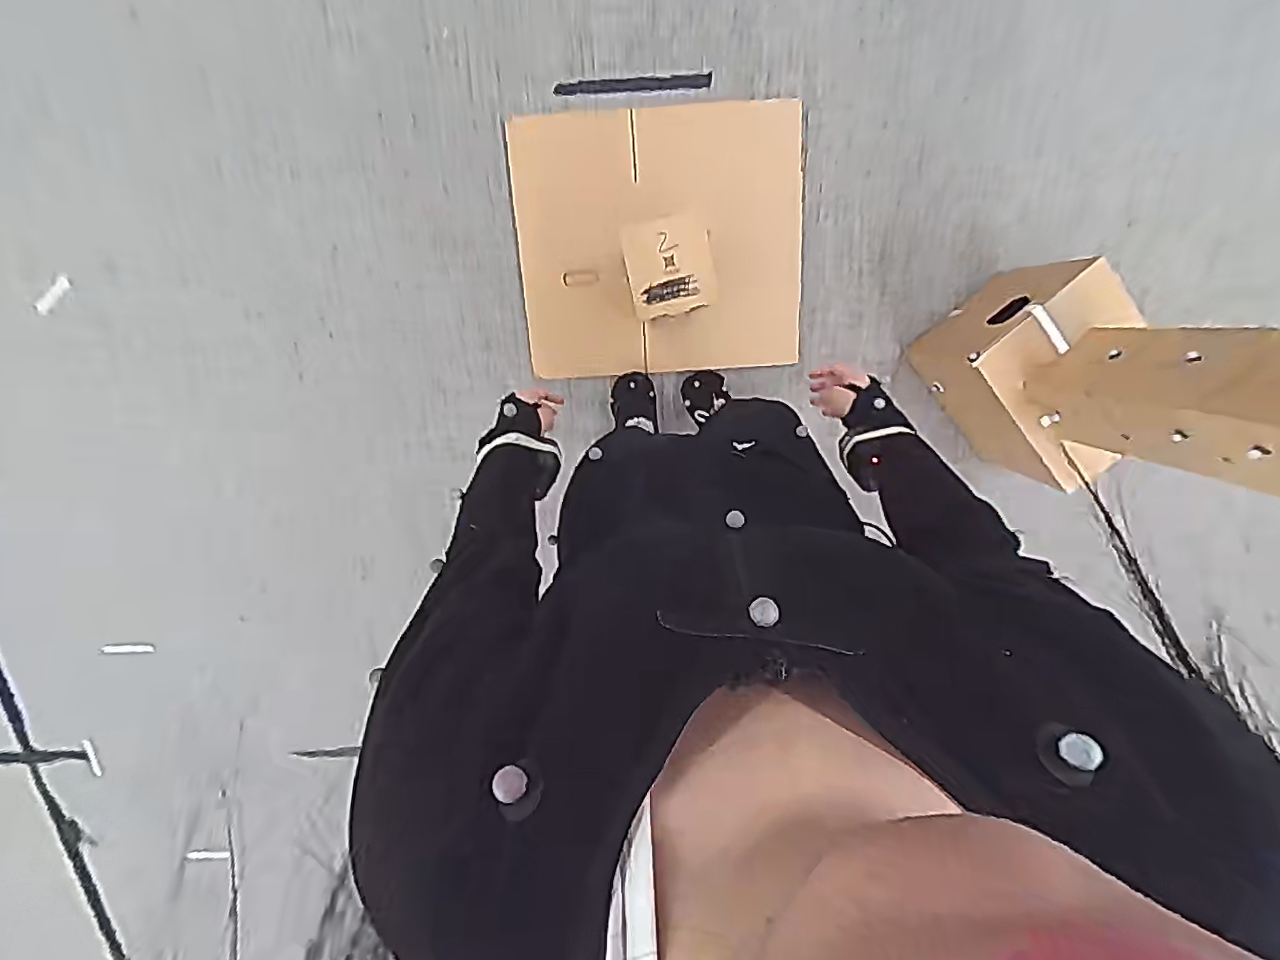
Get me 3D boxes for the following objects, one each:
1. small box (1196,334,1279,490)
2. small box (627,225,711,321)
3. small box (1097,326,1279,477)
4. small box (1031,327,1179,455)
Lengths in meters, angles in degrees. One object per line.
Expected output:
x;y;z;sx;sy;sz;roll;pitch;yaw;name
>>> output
0.934;-0.089;0.740;0.179;0.176;0.168;-42;102;10;small box
0.066;-0.478;1.272;0.168;0.176;0.179;-11;106;5;small box
0.932;-0.138;0.896;0.179;0.176;0.168;-42;102;10;small box
0.928;-0.181;1.054;0.179;0.176;0.168;-42;102;11;small box
